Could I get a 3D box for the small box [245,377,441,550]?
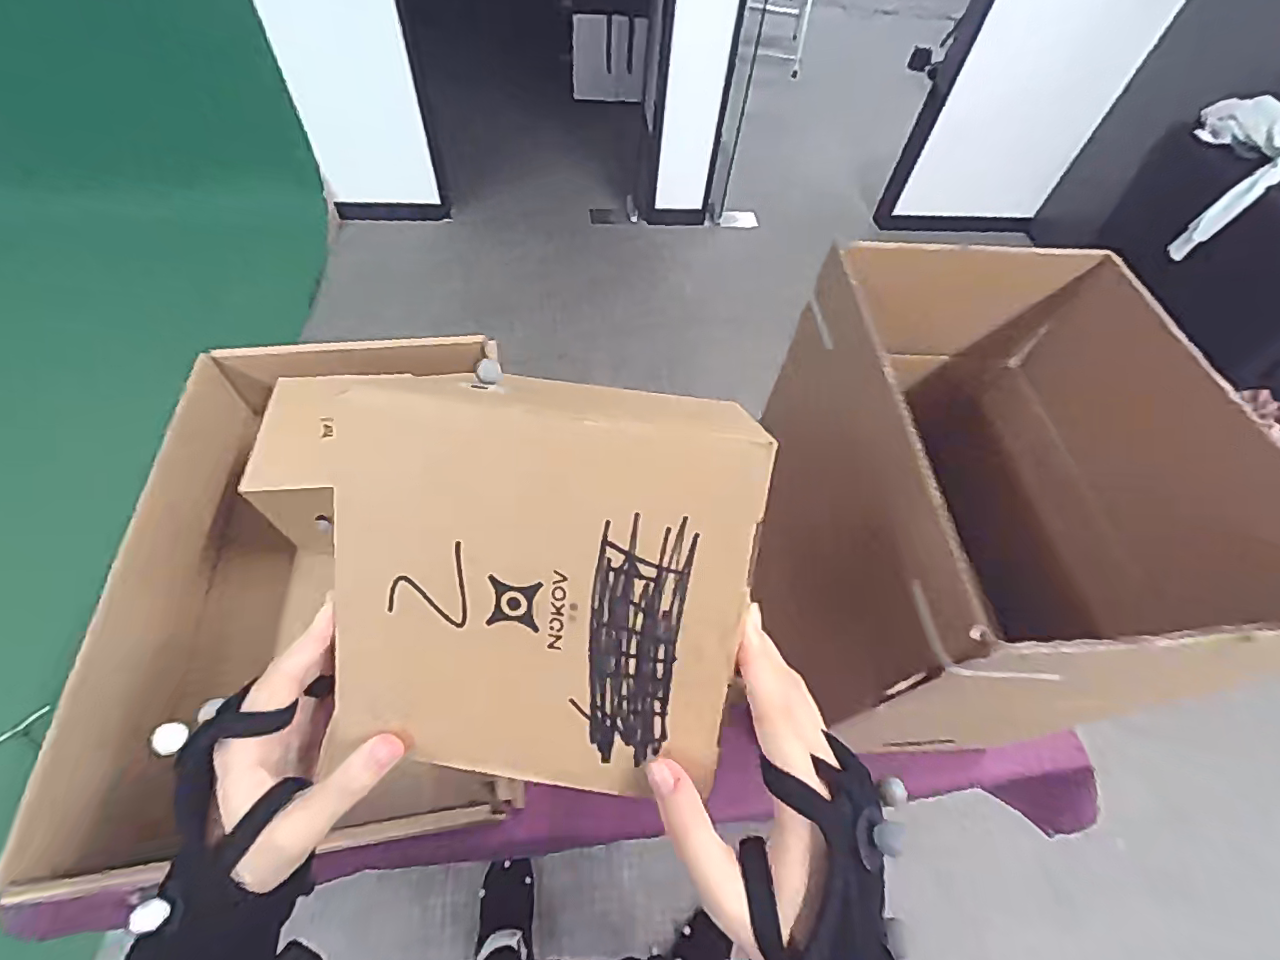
[{"bbox_3d":[-0.375,-0.015,0.722,0.168,0.176,0.179,-3,57,-6],"label":"small box"}]
